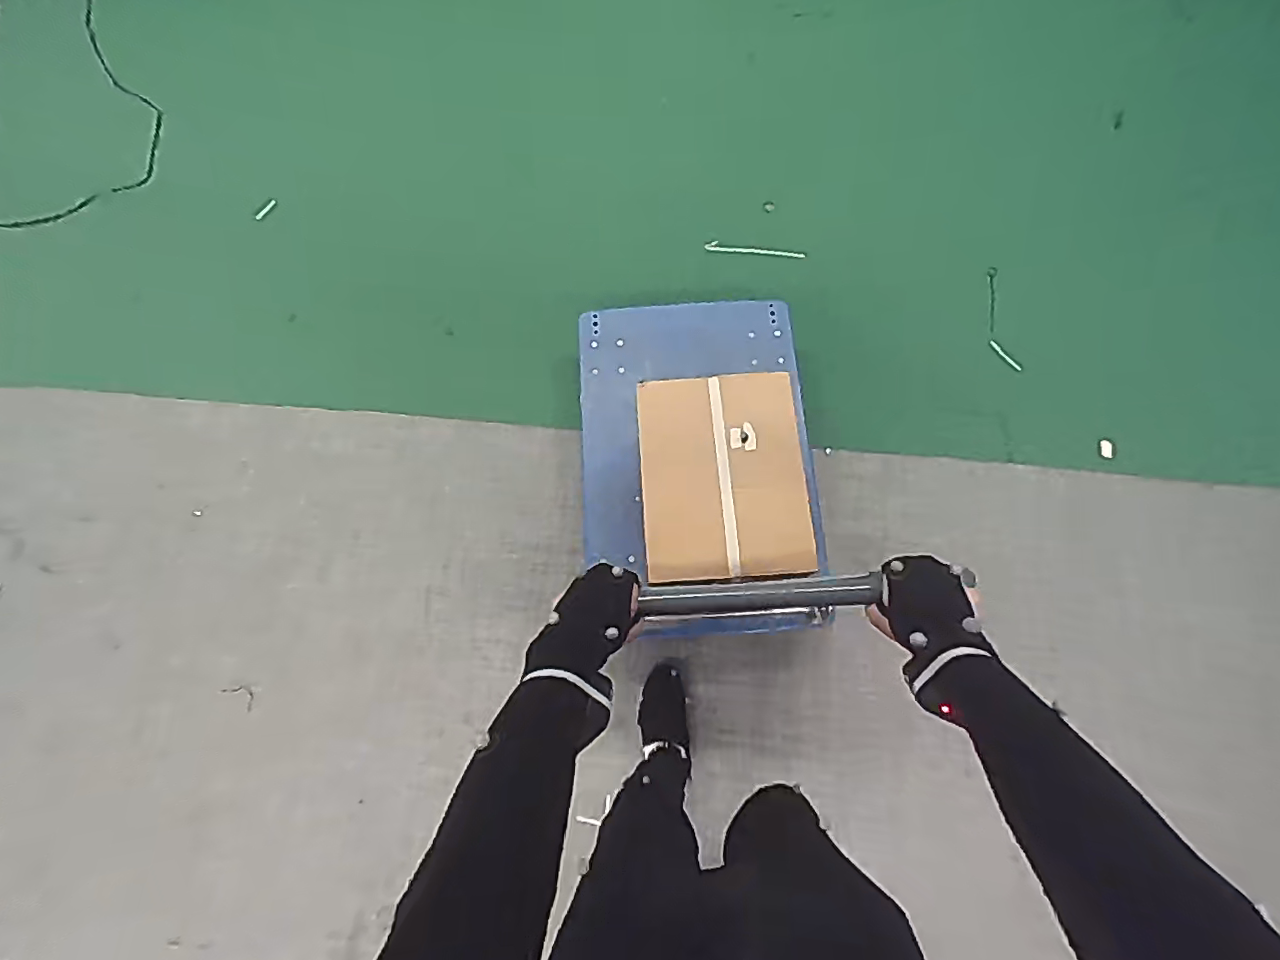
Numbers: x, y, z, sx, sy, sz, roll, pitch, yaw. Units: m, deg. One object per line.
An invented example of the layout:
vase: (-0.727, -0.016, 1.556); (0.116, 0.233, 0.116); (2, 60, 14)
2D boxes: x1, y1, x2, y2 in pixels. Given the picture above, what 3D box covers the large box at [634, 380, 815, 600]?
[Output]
large box: (0.163, 0.040, 1.196); (0.320, 0.320, 0.408); (-4, 73, 0)
